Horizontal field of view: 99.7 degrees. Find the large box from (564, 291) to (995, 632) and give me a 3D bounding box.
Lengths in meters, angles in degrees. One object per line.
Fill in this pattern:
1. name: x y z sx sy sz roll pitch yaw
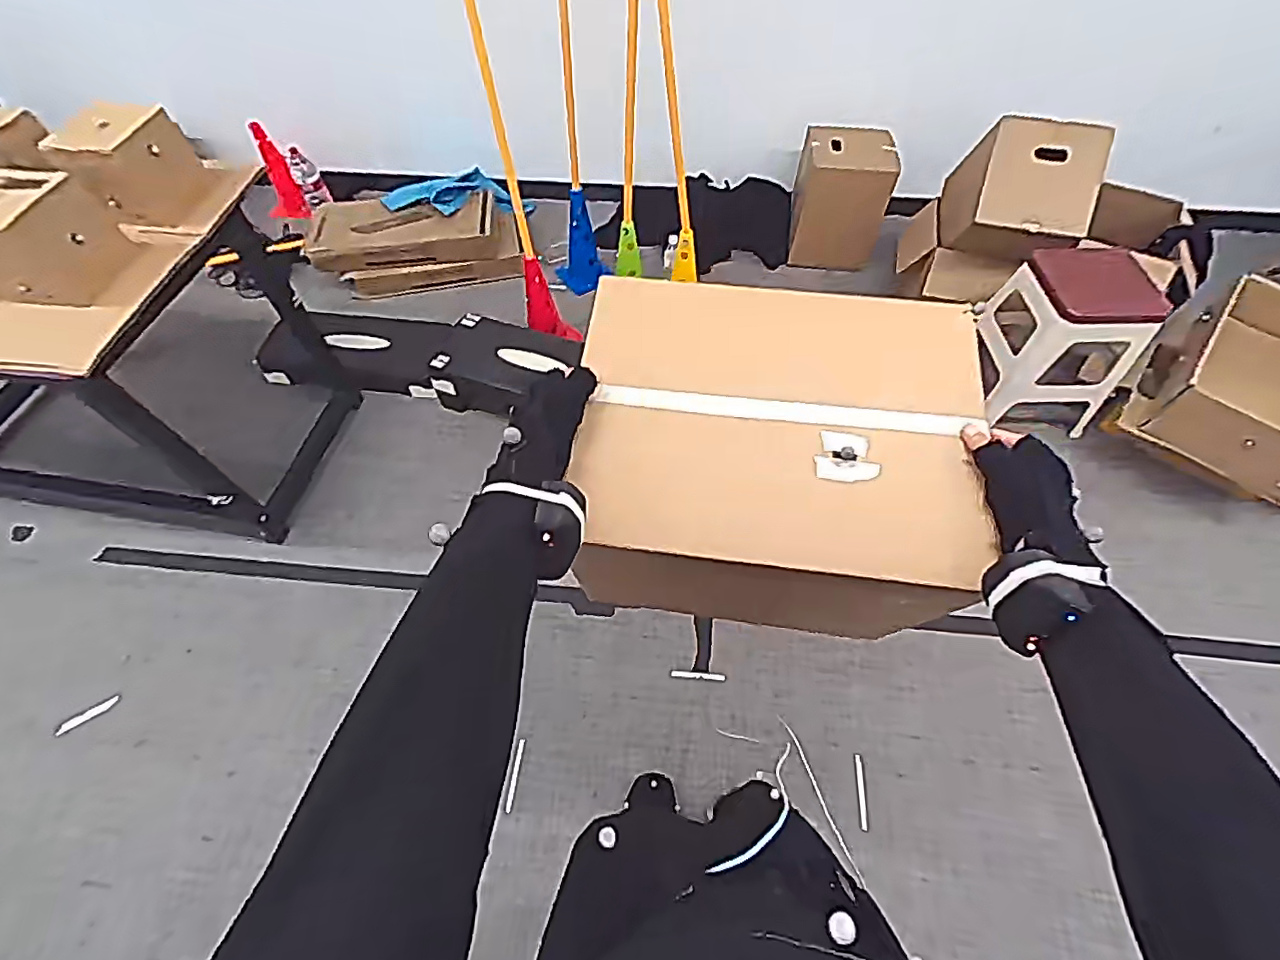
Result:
1. large box: 0.145 -0.004 0.692 0.408 0.320 0.320 7 68 5
